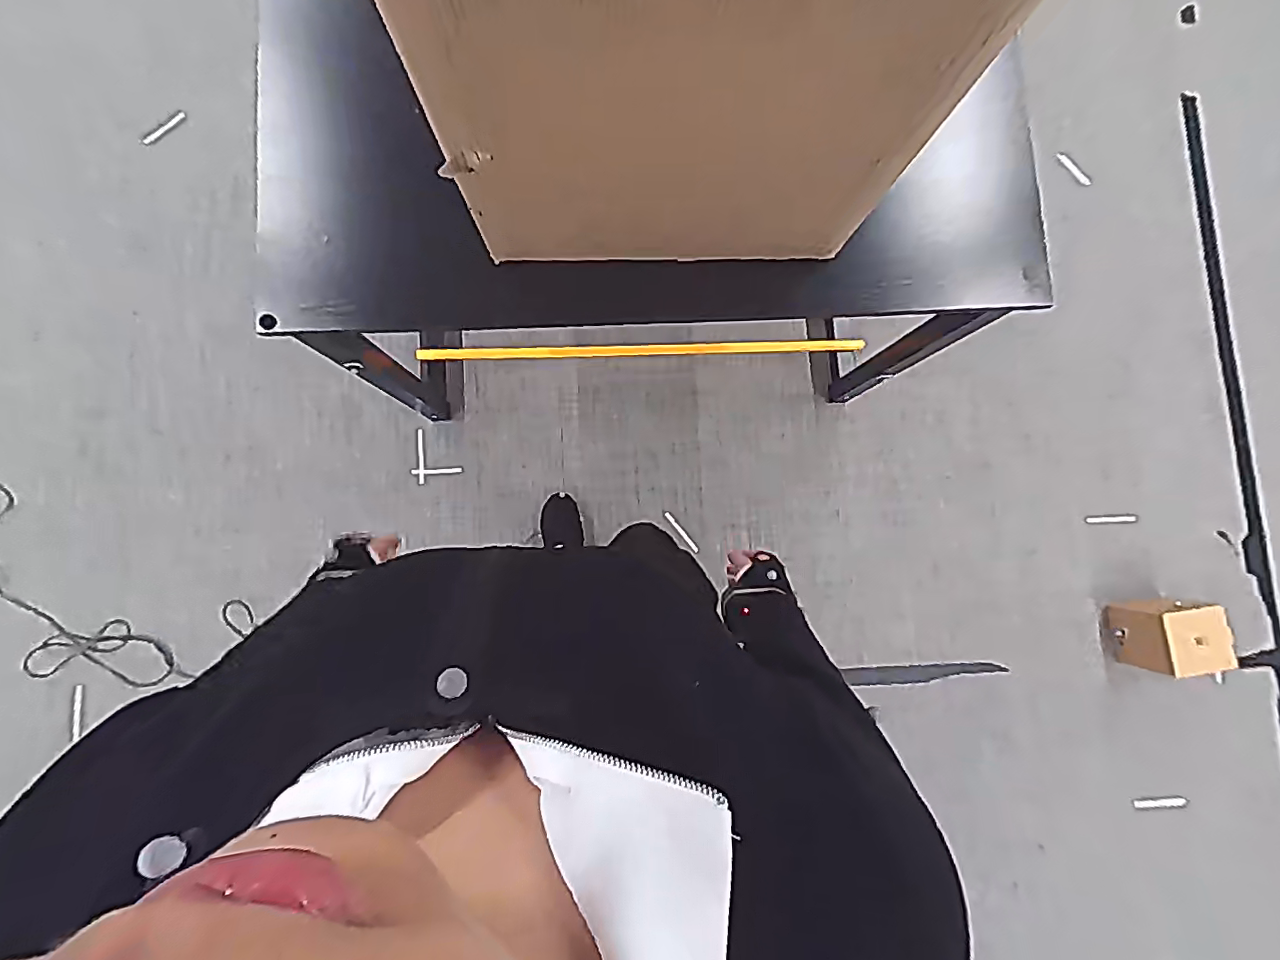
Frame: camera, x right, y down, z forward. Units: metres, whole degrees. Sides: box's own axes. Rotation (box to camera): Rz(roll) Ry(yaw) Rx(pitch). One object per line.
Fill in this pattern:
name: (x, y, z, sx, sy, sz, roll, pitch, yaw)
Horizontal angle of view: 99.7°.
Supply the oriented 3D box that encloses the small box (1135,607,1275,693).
small box: (1.466, 0.436, 1.413, 0.179, 0.176, 0.168, -9, 85, -3)
